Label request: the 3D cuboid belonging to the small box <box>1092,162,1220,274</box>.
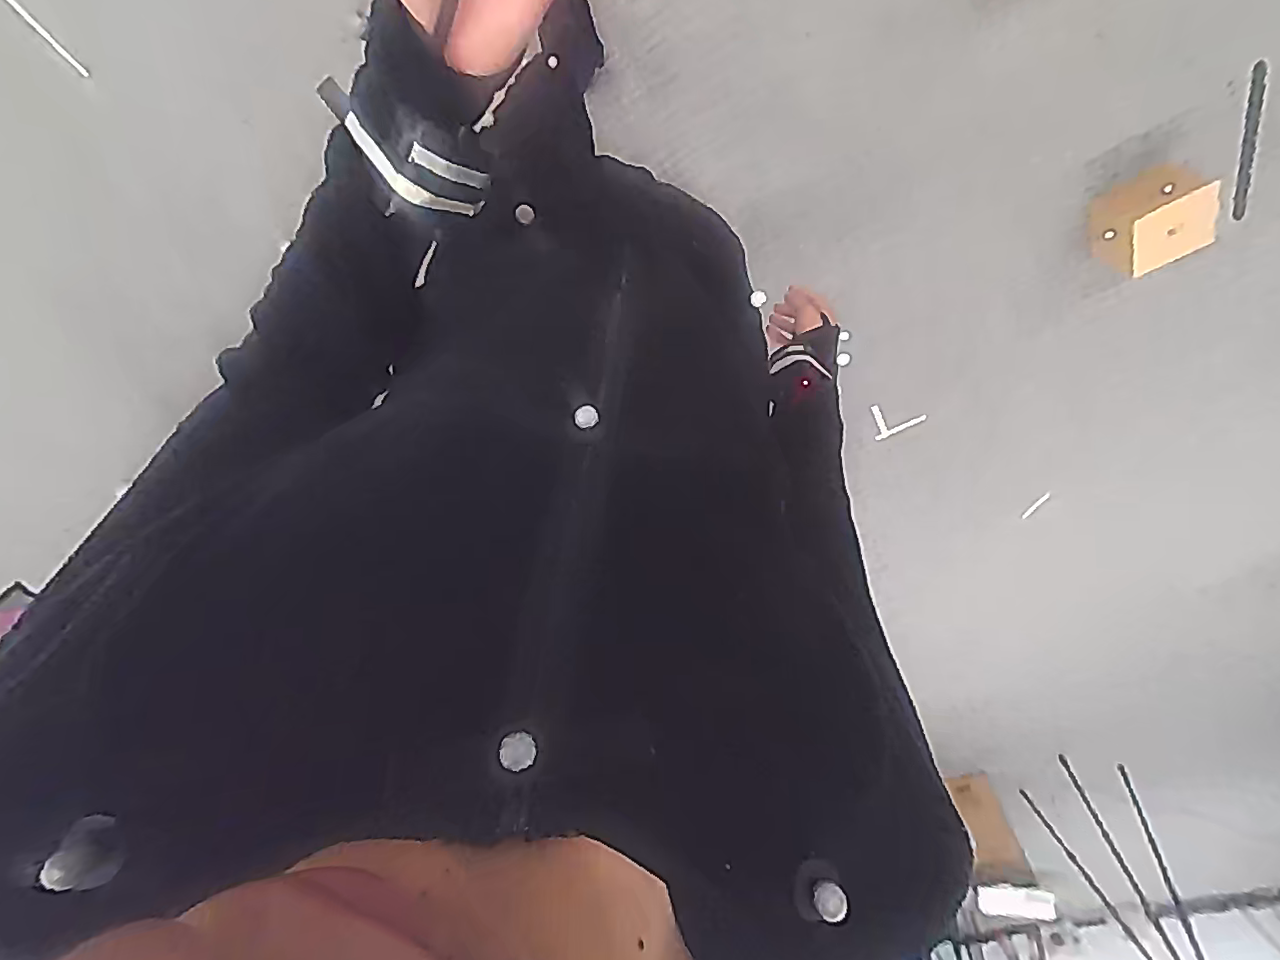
[{"bbox_3d":[1.272,-0.655,1.350,0.179,0.176,0.168,-27,127,19],"label":"small box"}]
